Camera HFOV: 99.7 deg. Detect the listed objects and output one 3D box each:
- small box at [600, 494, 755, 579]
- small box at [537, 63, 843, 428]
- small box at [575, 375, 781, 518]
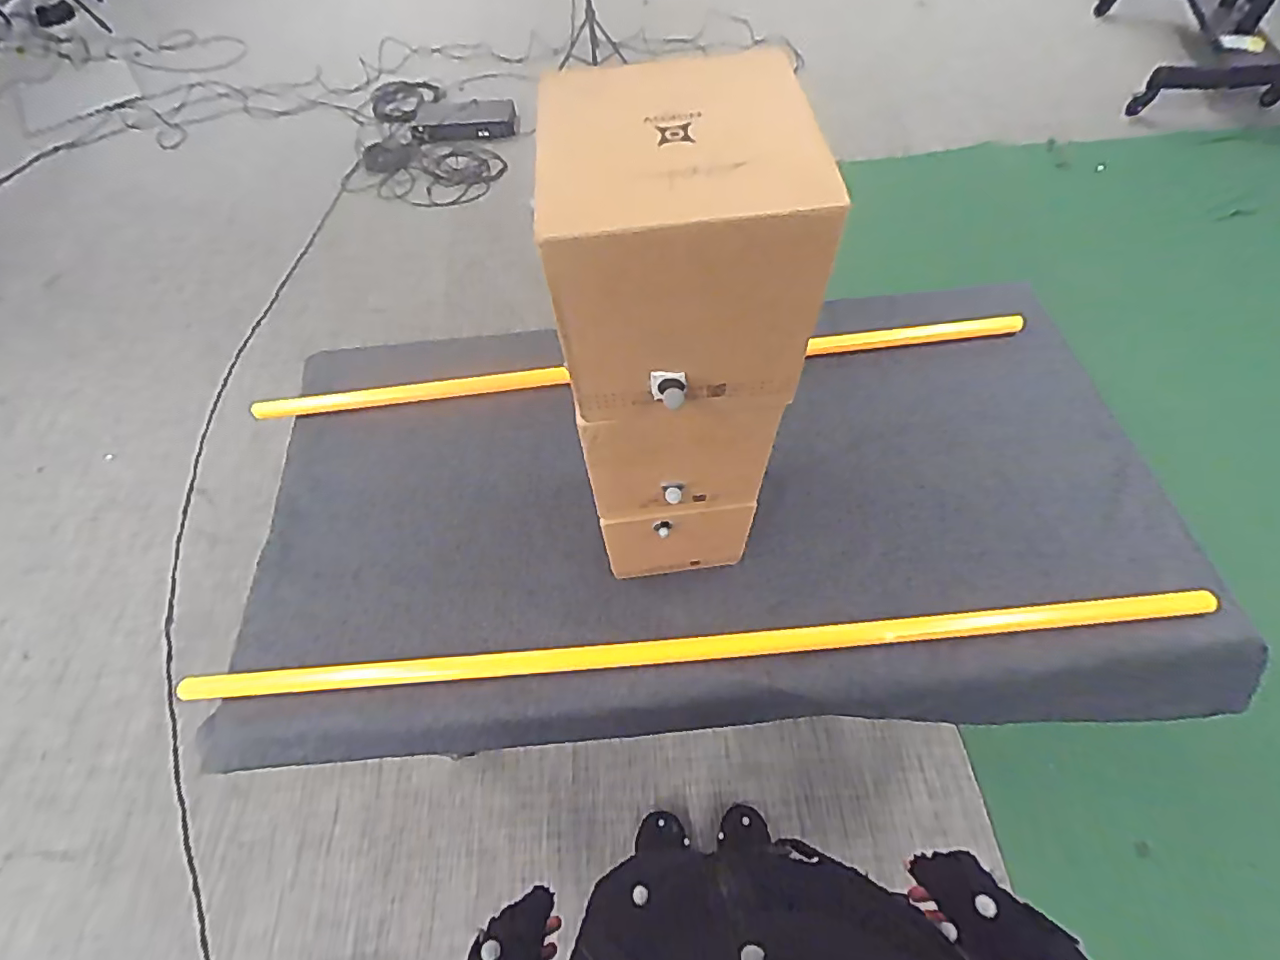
[{"bbox_3d":[0.036,0.005,0.676,0.168,0.176,0.179,-8,59,0],"label":"small box"},{"bbox_3d":[0.025,-0.162,0.396,0.168,0.176,0.179,-7,61,1],"label":"small box"},{"bbox_3d":[0.028,-0.081,0.537,0.168,0.176,0.179,-6,60,0],"label":"small box"}]
